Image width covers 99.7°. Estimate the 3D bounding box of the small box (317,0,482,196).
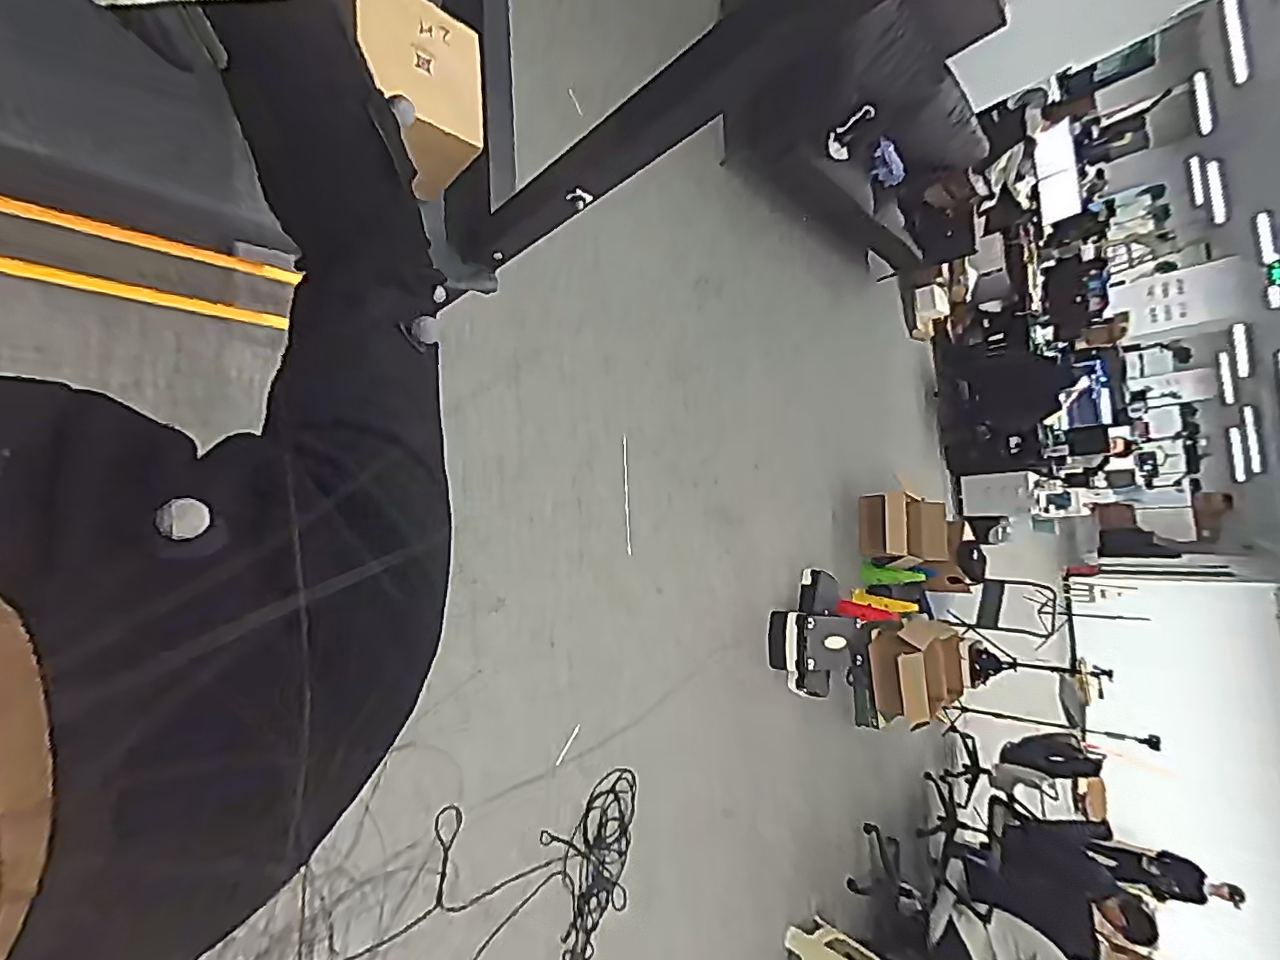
[{"bbox_3d":[-0.339,-0.540,0.761,0.168,0.176,0.179,1,83,-46],"label":"small box"}]
